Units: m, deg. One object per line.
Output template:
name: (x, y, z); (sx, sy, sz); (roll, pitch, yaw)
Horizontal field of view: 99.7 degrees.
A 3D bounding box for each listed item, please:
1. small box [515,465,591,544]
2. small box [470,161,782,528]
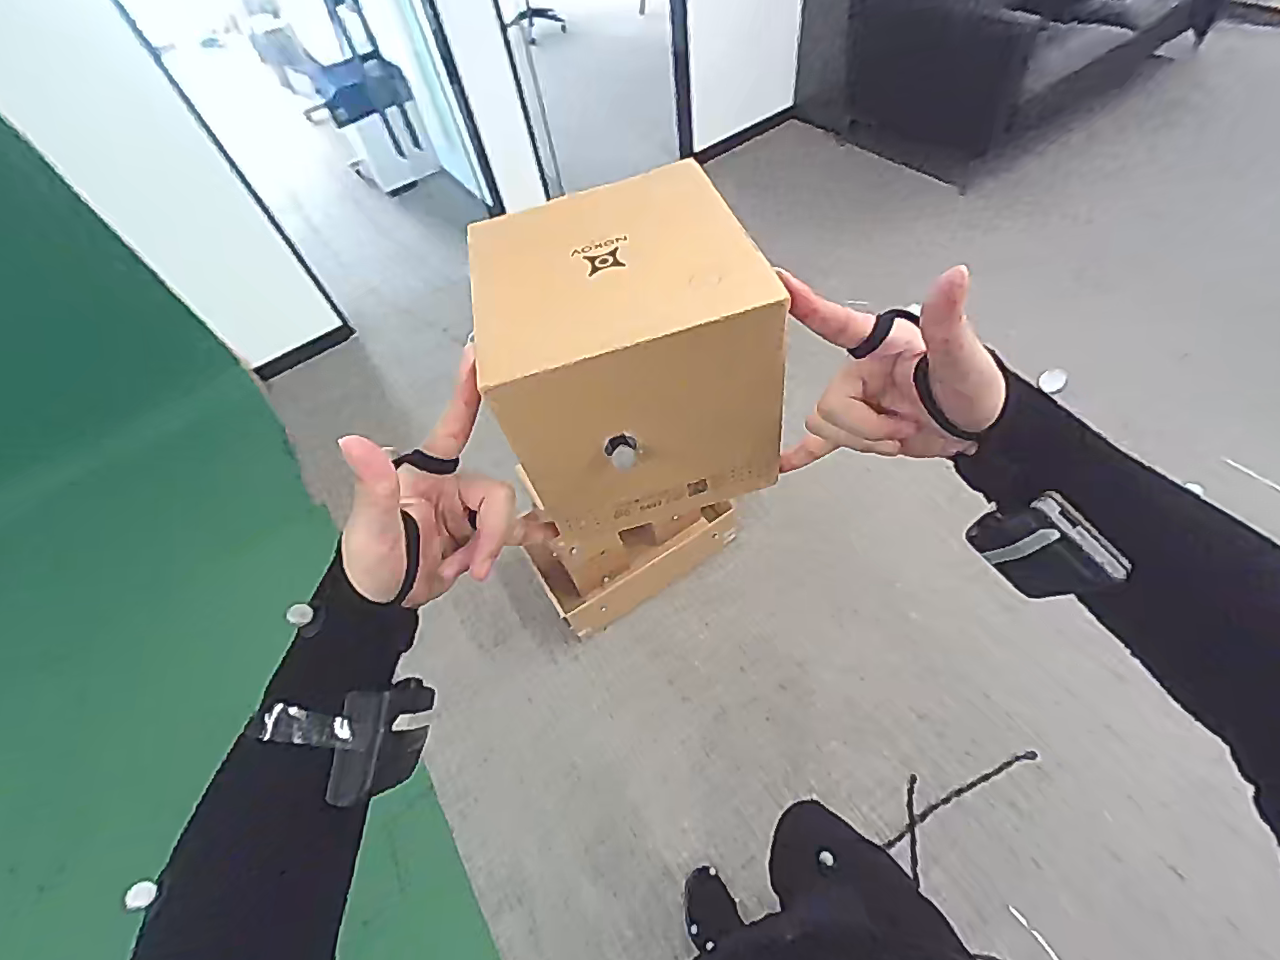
small box: (-0.195, 0.037, 1.412); (0.179, 0.176, 0.168); (-30, 55, -13)
small box: (-0.007, -0.085, 0.384); (0.168, 0.176, 0.179); (-17, 51, 0)
